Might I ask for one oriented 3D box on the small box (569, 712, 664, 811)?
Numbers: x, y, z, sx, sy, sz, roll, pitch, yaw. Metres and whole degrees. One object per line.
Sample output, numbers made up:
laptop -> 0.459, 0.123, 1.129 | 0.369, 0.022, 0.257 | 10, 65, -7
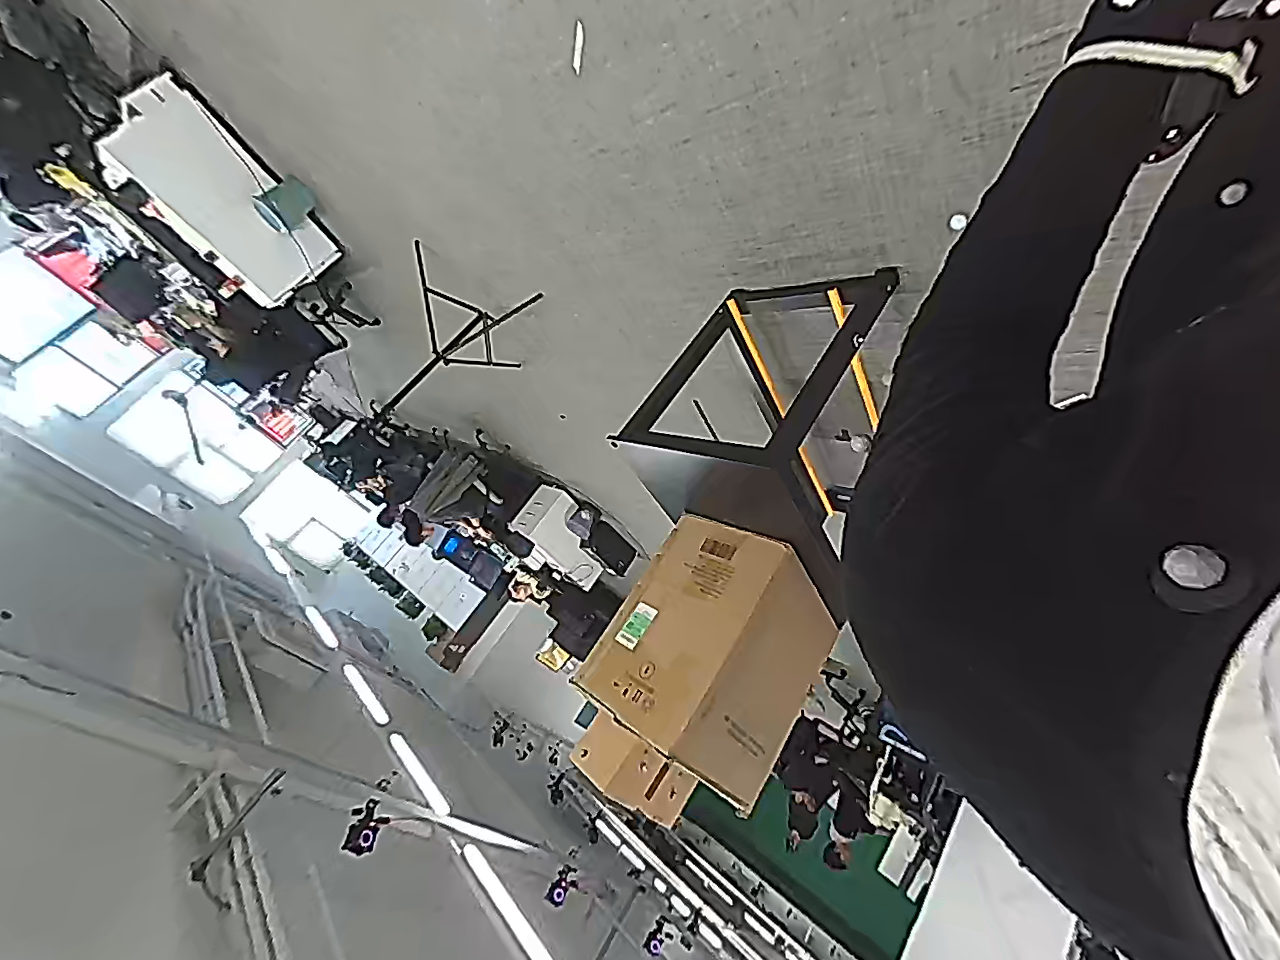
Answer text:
small box -> -0.064, 0.793, 1.546 | 0.179, 0.176, 0.168 | 15, 152, 49

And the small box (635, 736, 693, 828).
small box -> 0.044, 0.934, 1.688 | 0.179, 0.176, 0.168 | 12, 148, 50
